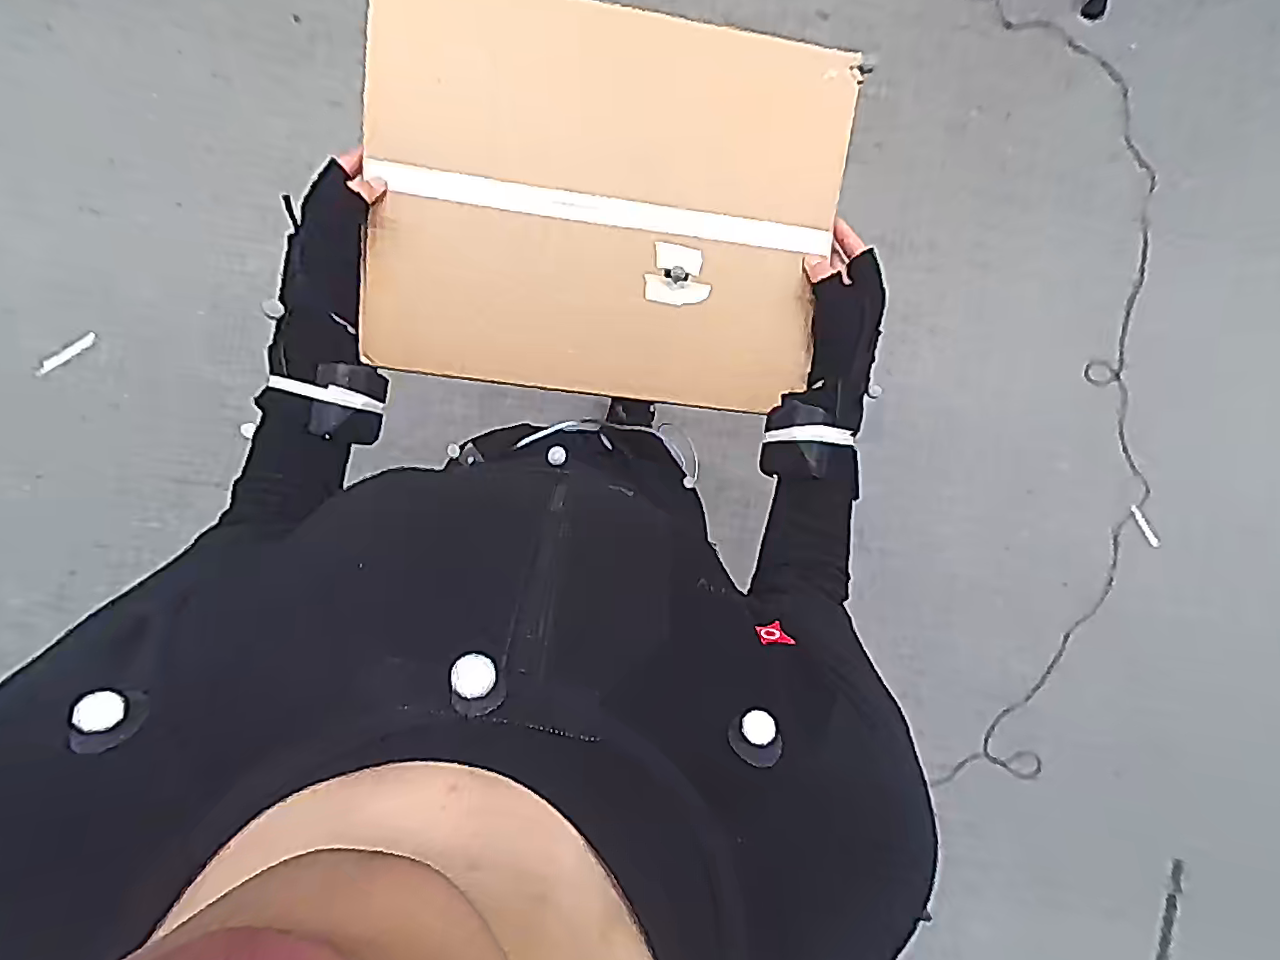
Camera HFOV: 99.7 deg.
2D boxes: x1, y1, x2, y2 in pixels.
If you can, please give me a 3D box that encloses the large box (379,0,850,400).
[{"bbox_3d":[-0.041,-0.270,0.625,0.408,0.320,0.320,5,101,-7],"label":"large box"}]
